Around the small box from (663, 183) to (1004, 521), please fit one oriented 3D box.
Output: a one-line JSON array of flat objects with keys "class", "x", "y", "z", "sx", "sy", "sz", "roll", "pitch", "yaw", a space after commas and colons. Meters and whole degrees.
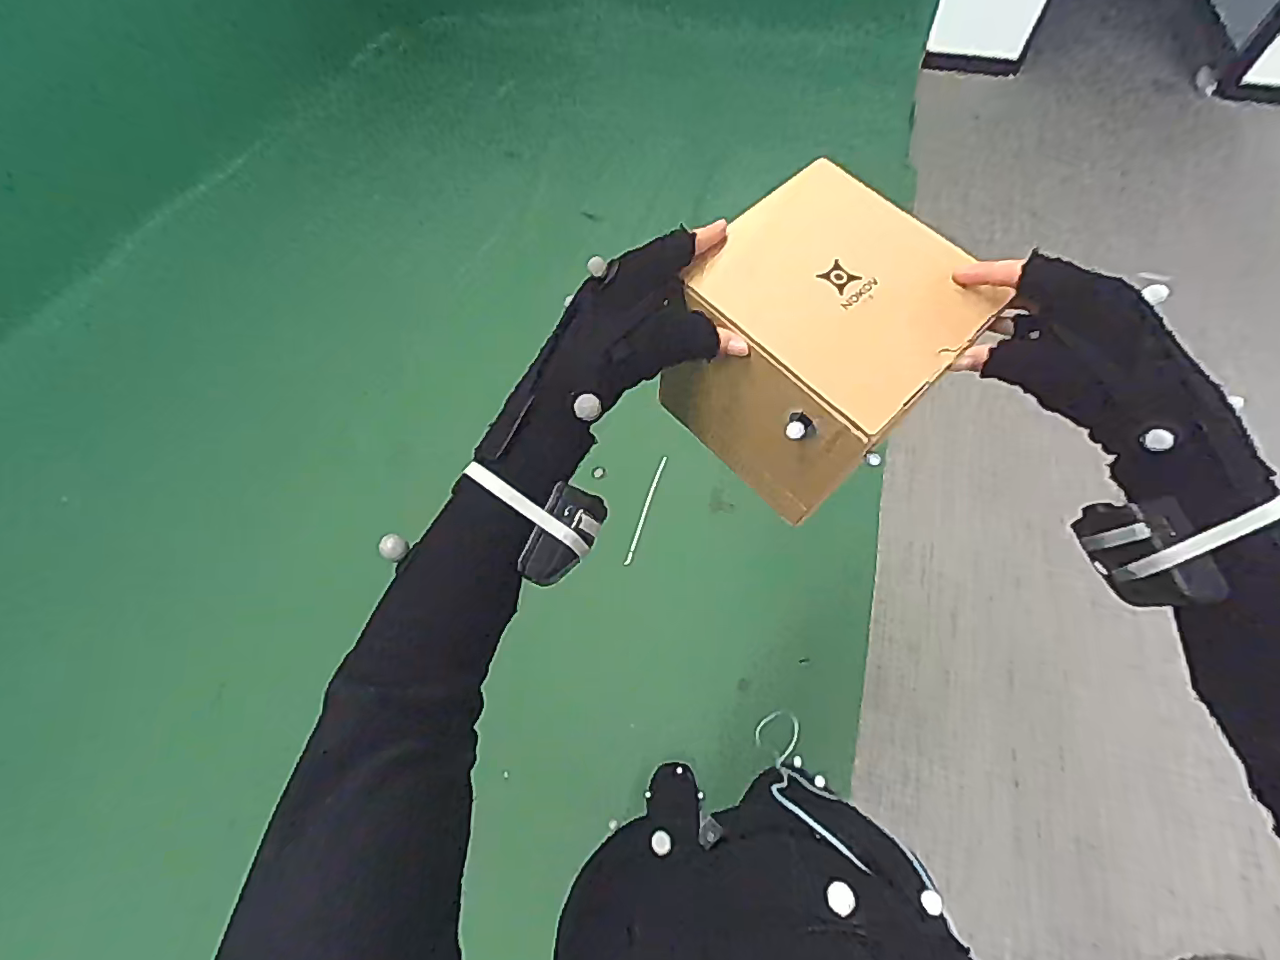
[{"class": "small box", "x": 0.135, "y": -0.094, "z": 0.449, "sx": 0.168, "sy": 0.176, "sz": 0.179, "roll": -40, "pitch": 74, "yaw": -17}]
